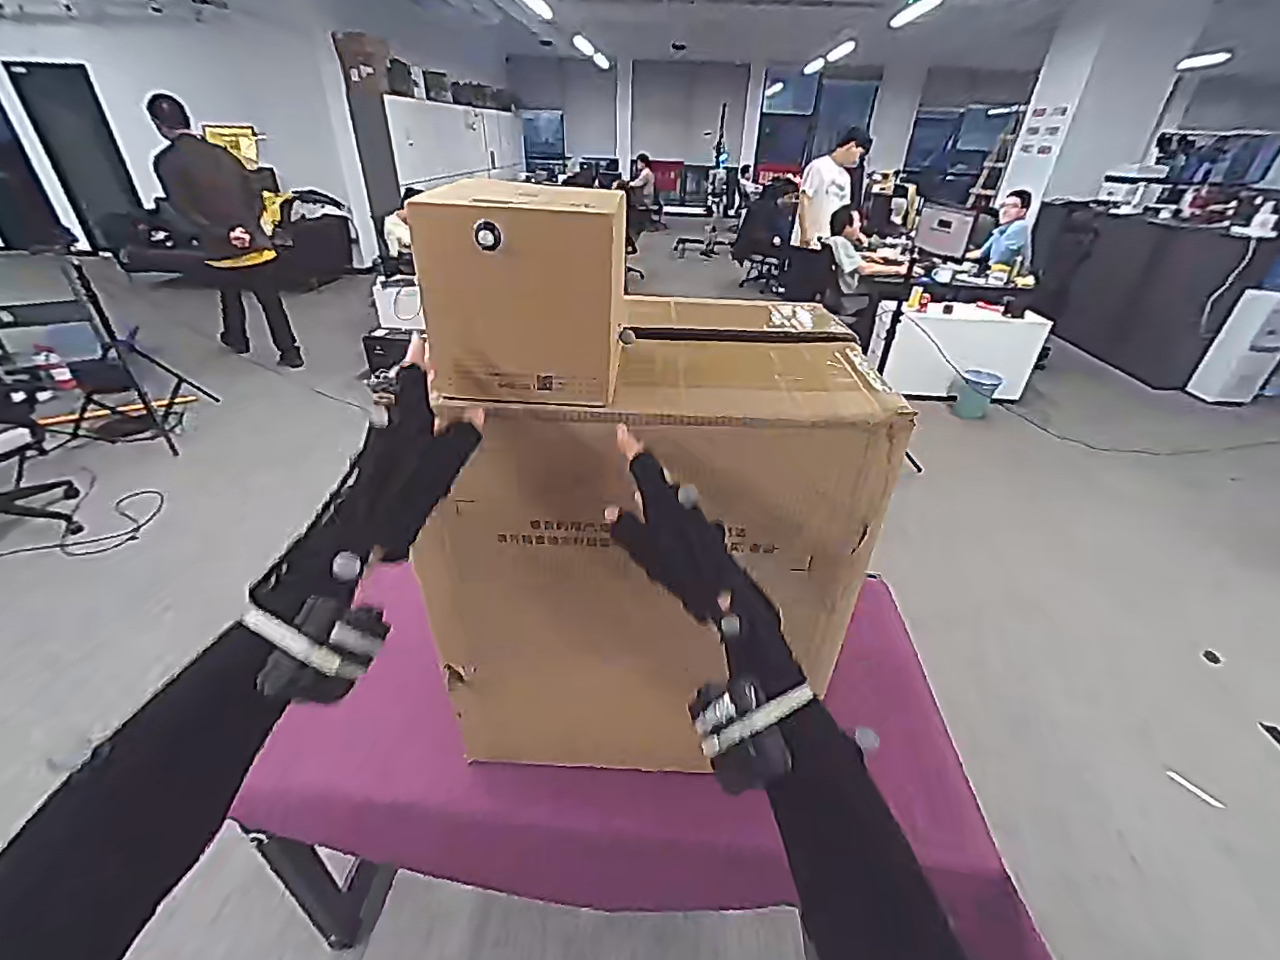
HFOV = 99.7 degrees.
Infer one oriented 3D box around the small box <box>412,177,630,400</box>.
[{"bbox_3d":[-0.099,-0.193,0.531,0.168,0.176,0.179,3,32,0],"label":"small box"}]
